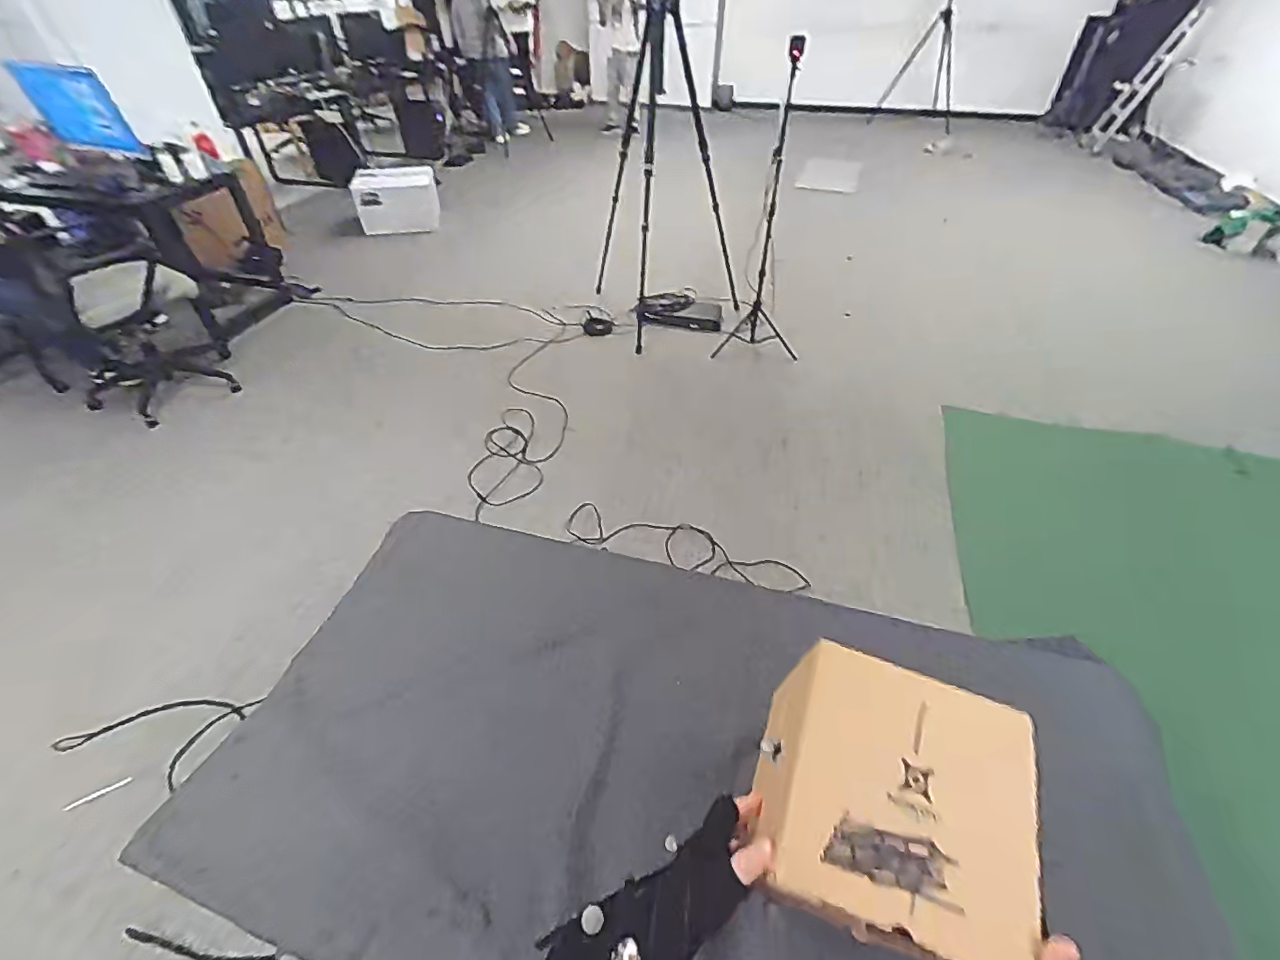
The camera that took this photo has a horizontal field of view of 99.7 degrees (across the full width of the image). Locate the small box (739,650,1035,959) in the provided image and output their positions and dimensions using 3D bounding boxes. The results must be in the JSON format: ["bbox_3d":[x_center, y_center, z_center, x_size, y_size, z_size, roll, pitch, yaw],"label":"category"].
[{"bbox_3d":[0.188,0.276,0.447,0.168,0.176,0.179,19,55,11],"label":"small box"}]
